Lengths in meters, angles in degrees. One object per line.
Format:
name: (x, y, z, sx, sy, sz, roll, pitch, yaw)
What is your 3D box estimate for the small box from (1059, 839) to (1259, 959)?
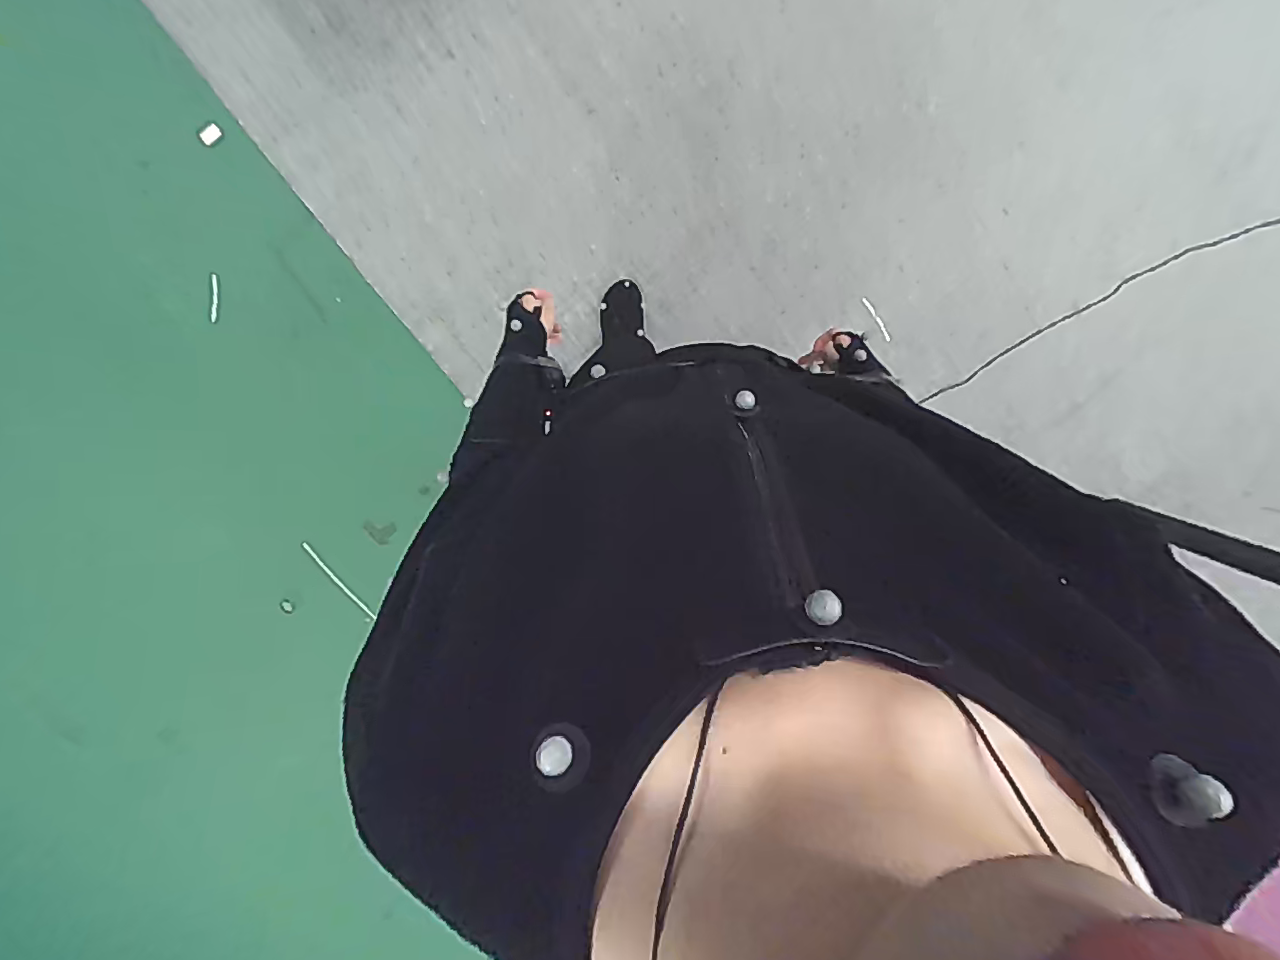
small box: (0.855, 0.744, 0.887, 0.168, 0.176, 0.179, -42, 102, 8)
